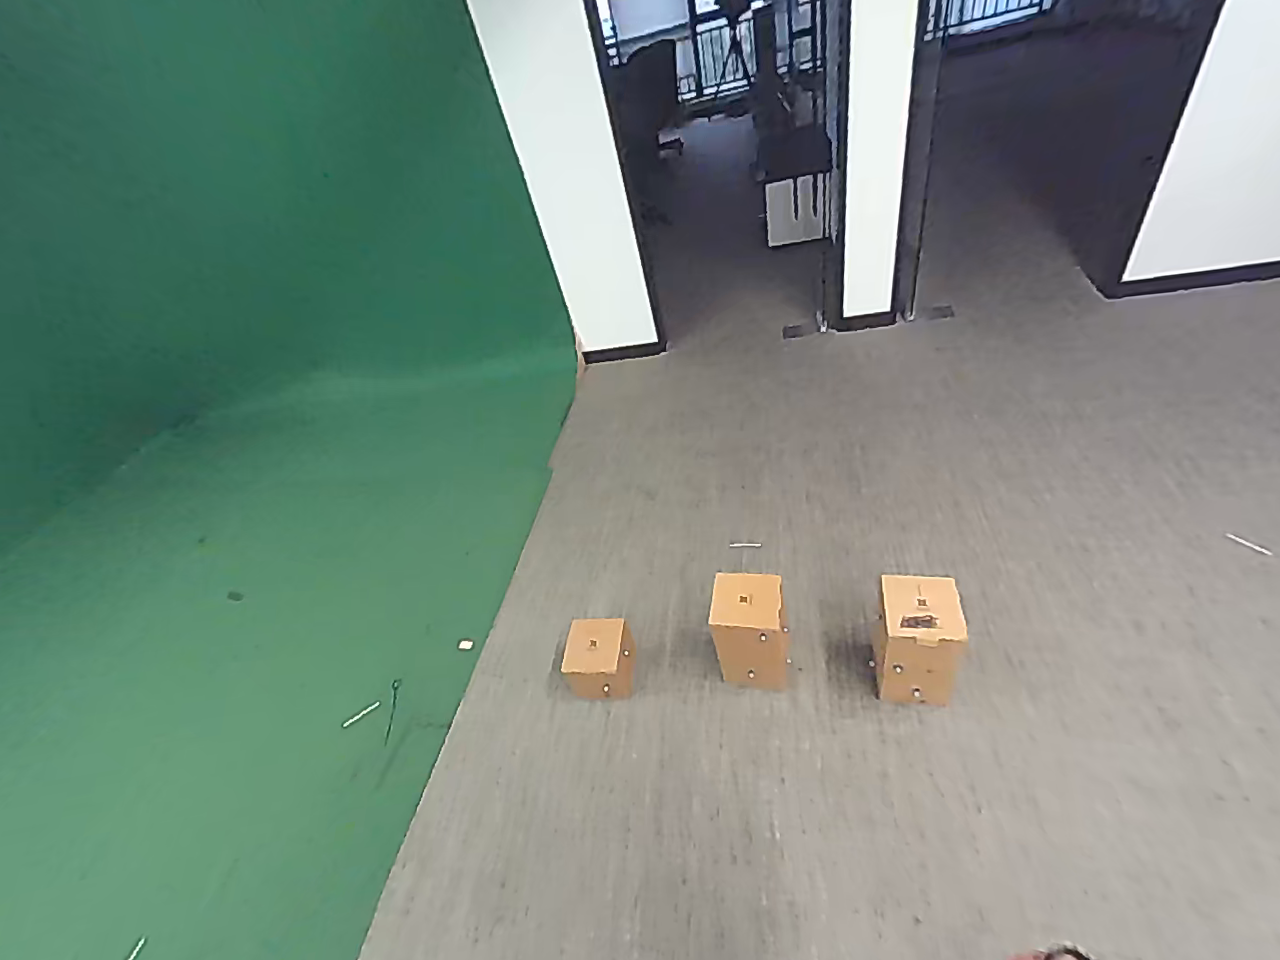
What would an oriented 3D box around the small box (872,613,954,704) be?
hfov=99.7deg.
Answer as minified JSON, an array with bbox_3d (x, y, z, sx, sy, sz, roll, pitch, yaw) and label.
[{"bbox_3d":[0.714,0.472,1.430,0.168,0.176,0.179,-2,43,17],"label":"small box"}]

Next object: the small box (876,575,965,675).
[{"bbox_3d":[0.675,0.355,1.320,0.168,0.176,0.179,-1,42,18],"label":"small box"}]

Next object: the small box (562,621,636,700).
[{"bbox_3d":[-0.116,0.546,1.632,0.168,0.176,0.179,-4,41,13],"label":"small box"}]

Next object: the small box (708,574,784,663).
[{"bbox_3d":[0.288,0.369,1.440,0.179,0.176,0.168,-1,42,18],"label":"small box"}]
